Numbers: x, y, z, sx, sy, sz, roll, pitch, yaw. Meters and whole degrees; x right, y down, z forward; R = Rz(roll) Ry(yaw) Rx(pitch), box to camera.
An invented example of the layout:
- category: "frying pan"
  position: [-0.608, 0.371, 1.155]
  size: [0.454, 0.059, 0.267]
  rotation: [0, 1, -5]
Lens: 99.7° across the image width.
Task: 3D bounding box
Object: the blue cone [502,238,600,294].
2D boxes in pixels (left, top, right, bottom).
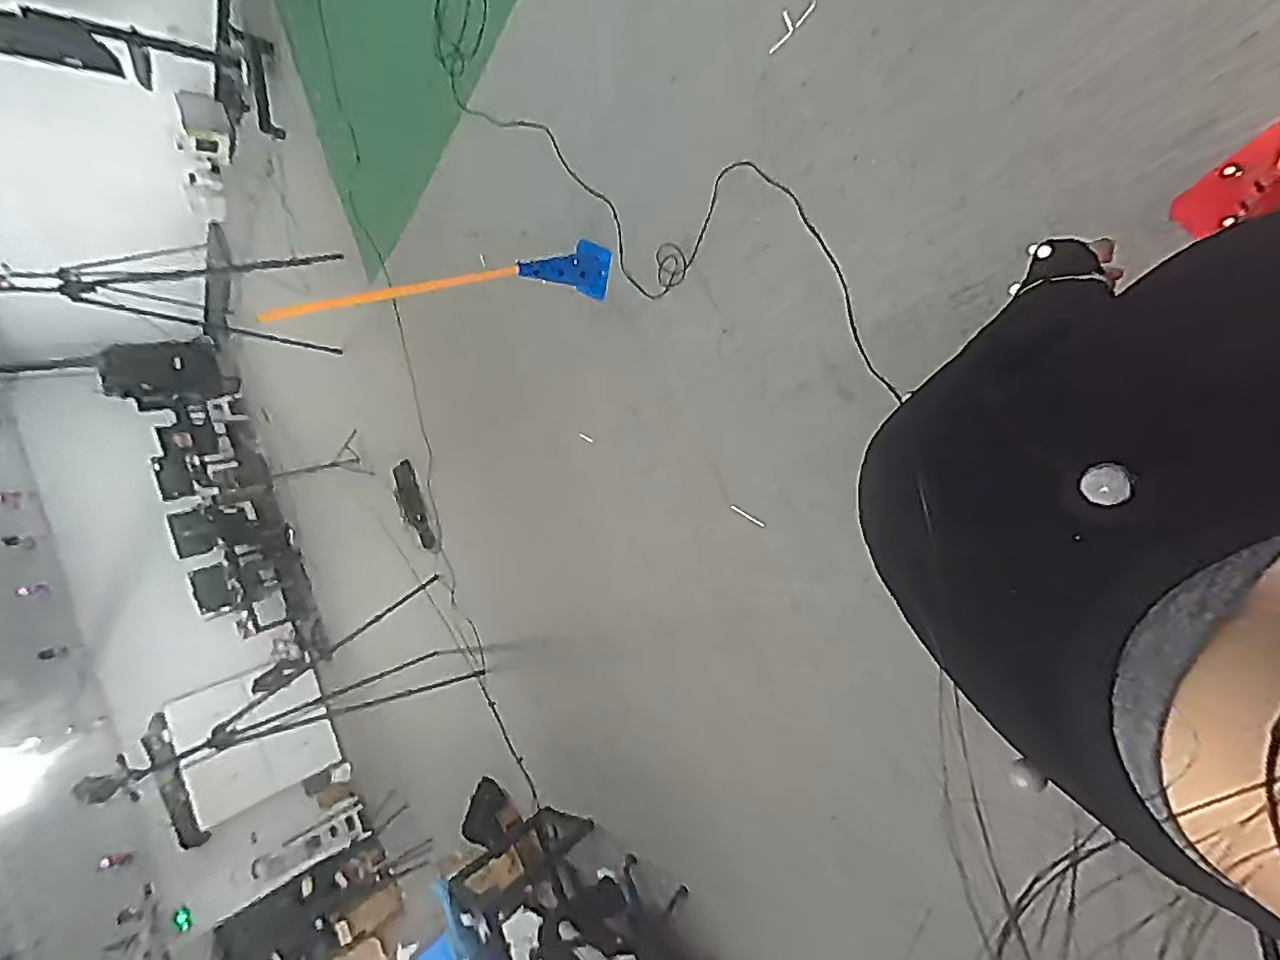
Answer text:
- category: "blue cone"
  position: [-0.344, -0.807, 2.041]
  size: [0.192, 0.380, 0.193]
  rotation: [33, 127, 33]
